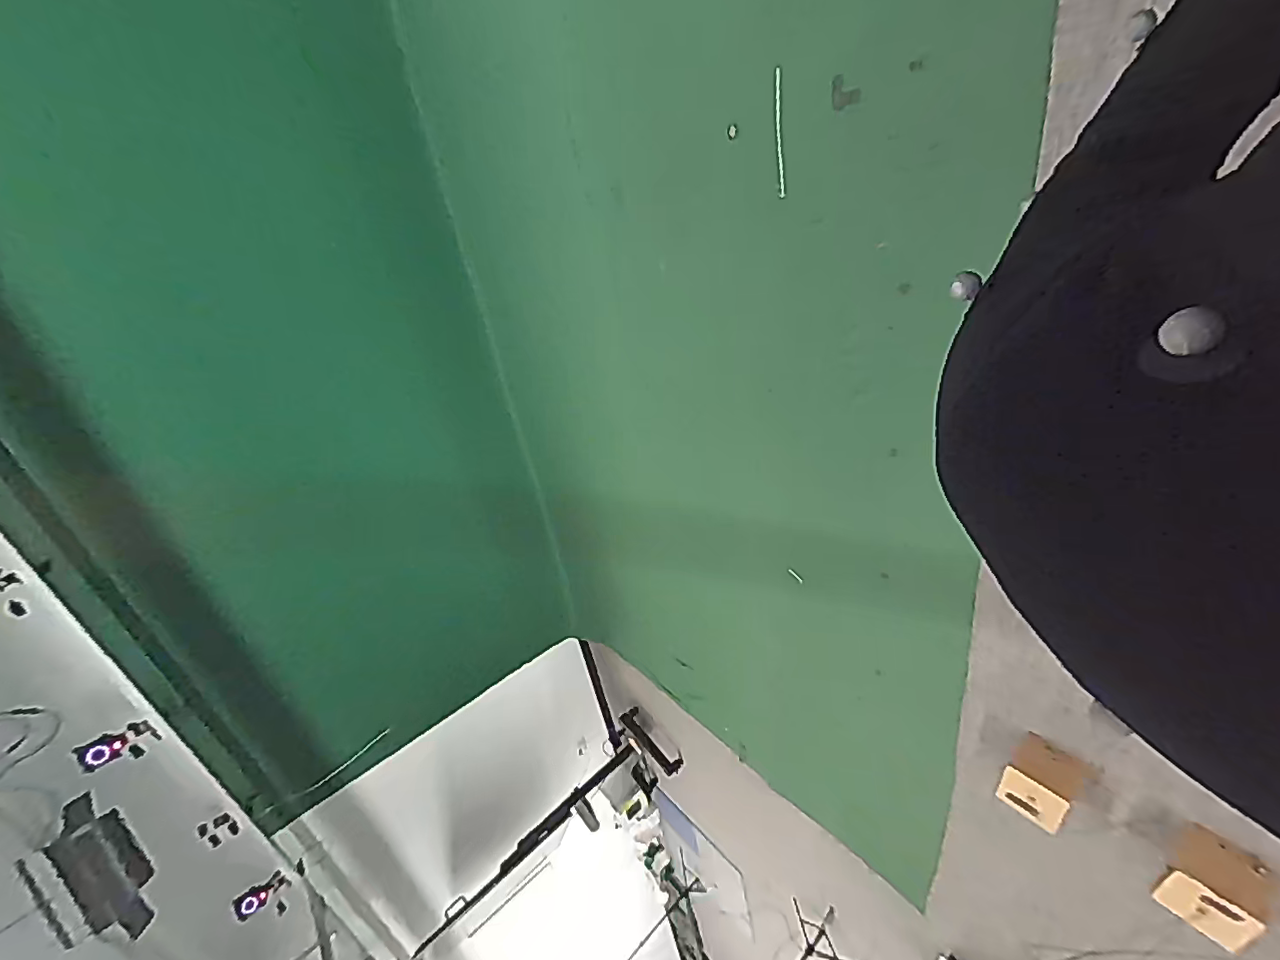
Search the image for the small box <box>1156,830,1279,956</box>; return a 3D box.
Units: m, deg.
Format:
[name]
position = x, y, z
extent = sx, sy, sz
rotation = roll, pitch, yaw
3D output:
[small box]
position = 1.505, 1.064, 1.406
extent = 0.168, 0.176, 0.179
rotation = 30, 138, 43
